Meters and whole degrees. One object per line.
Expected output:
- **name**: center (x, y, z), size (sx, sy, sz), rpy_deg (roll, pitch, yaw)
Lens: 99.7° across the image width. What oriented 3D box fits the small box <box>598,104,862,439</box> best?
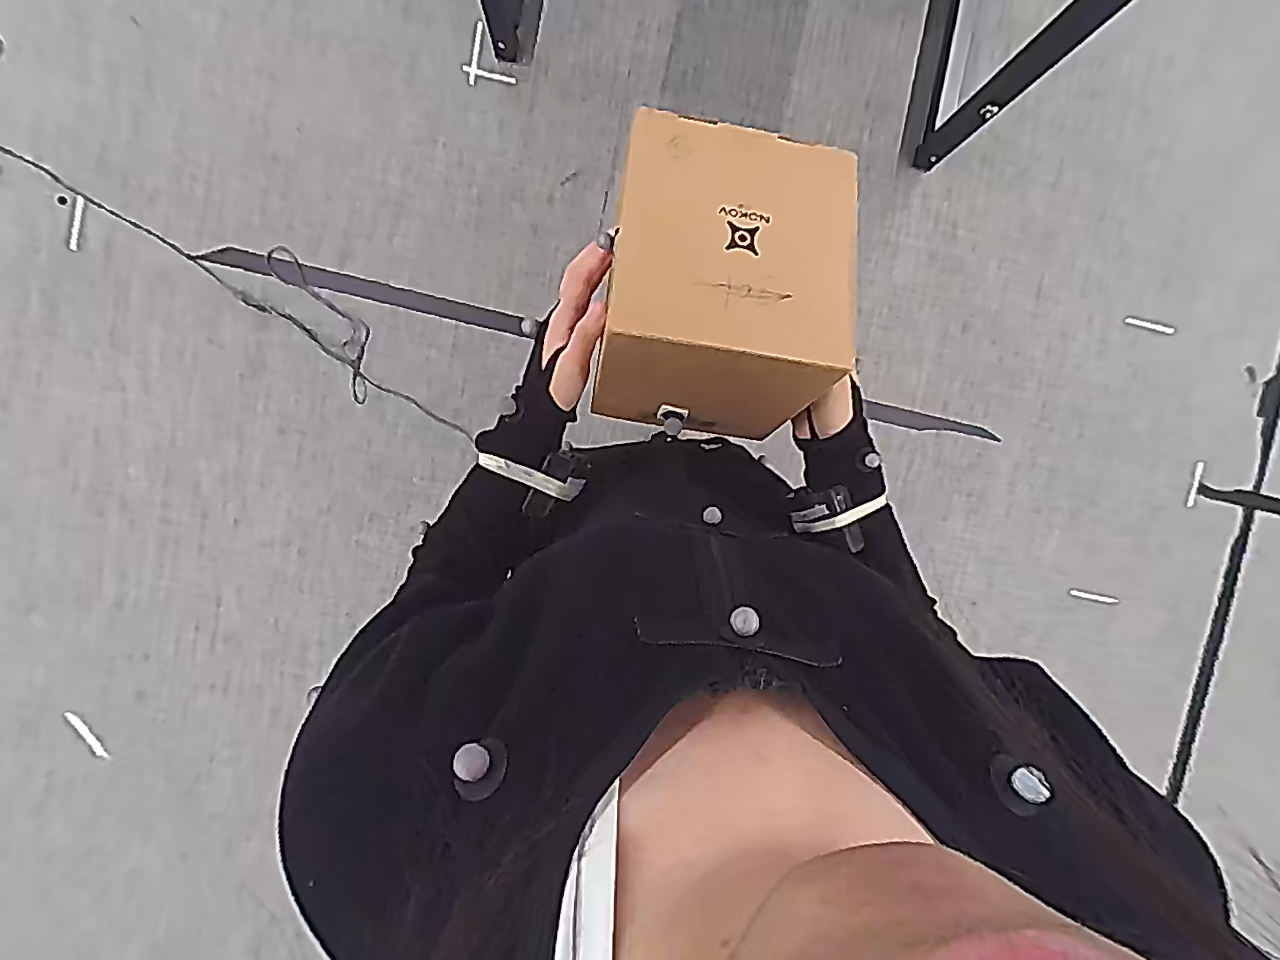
- **small box**: center (0.059, -0.148, 0.439), size (0.168, 0.176, 0.179), rpy_deg (7, 77, -7)
